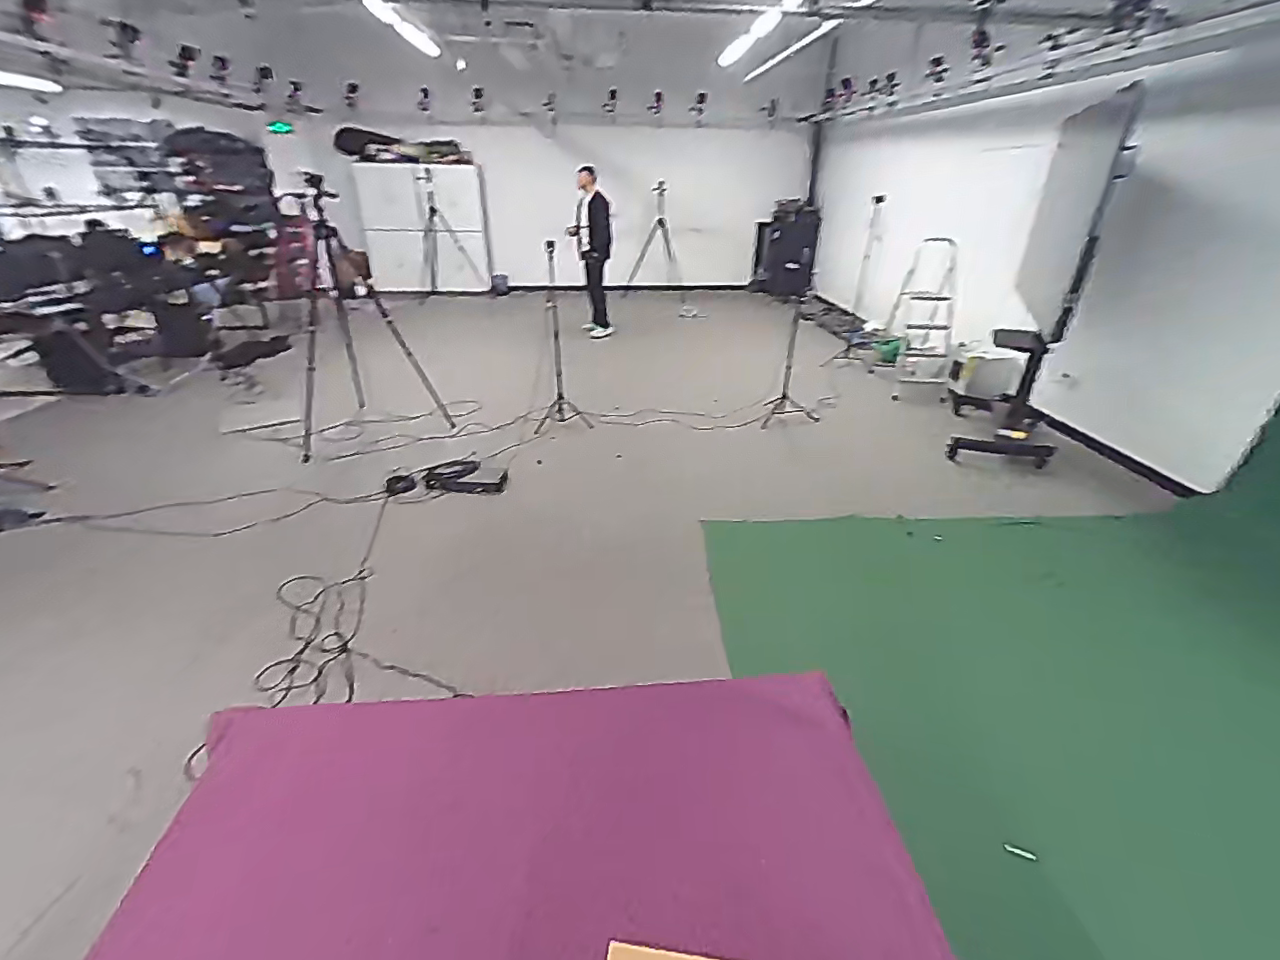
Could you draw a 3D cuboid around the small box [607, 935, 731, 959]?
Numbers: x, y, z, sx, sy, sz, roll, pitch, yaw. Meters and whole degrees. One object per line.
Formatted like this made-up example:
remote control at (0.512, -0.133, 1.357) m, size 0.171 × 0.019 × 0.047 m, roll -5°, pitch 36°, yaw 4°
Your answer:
small box at (0.031, 0.636, 0.559) m, size 0.168 × 0.176 × 0.179 m, roll 2°, pitch 19°, yaw 10°
